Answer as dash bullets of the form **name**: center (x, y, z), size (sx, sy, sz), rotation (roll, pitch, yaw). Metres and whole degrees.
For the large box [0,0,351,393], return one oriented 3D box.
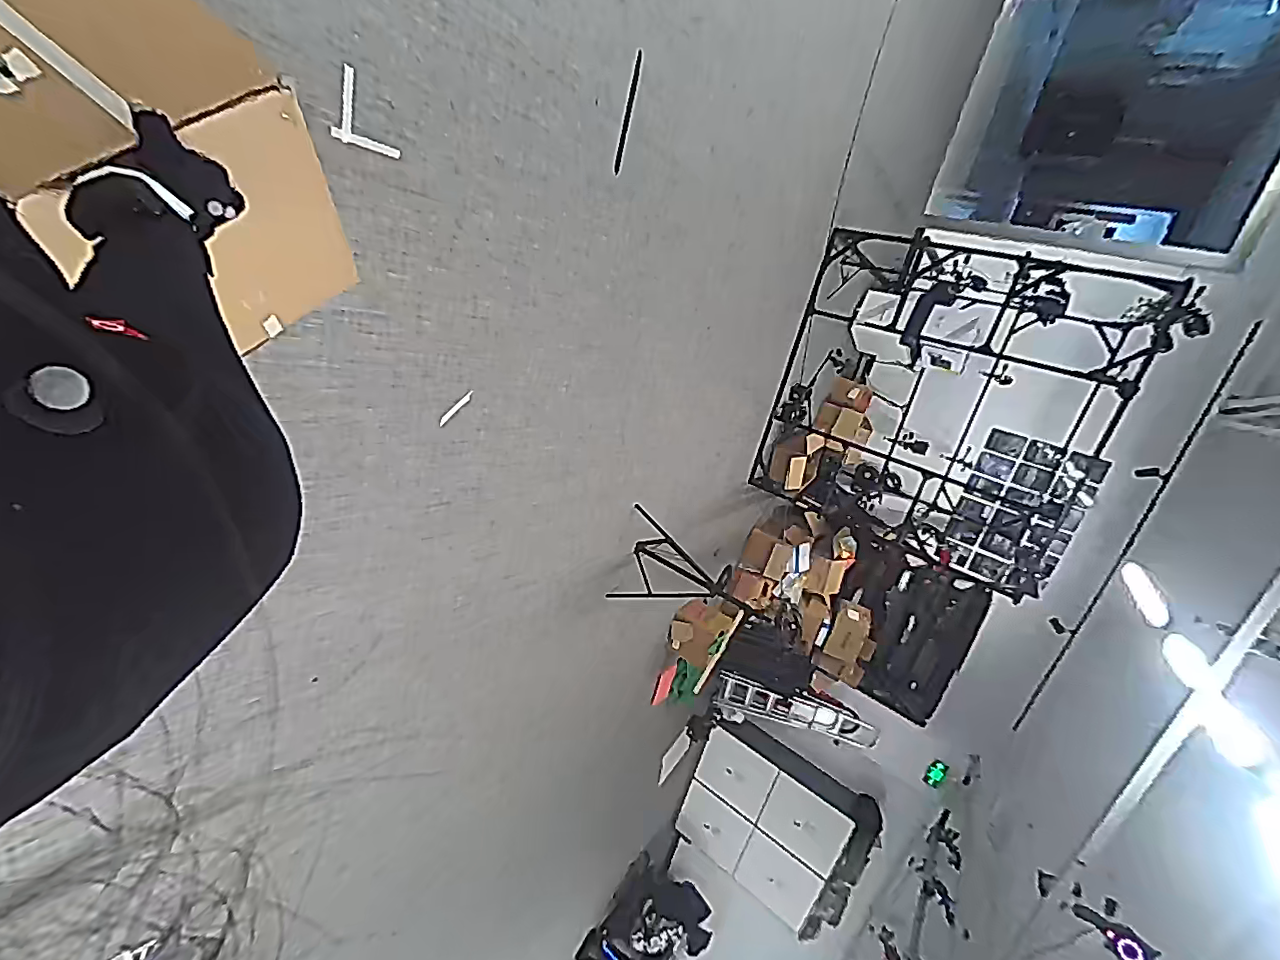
- **large box**: center (-0.668, -0.395, 0.687), size (0.320, 0.408, 0.320), rotation (-49, 177, -25)
